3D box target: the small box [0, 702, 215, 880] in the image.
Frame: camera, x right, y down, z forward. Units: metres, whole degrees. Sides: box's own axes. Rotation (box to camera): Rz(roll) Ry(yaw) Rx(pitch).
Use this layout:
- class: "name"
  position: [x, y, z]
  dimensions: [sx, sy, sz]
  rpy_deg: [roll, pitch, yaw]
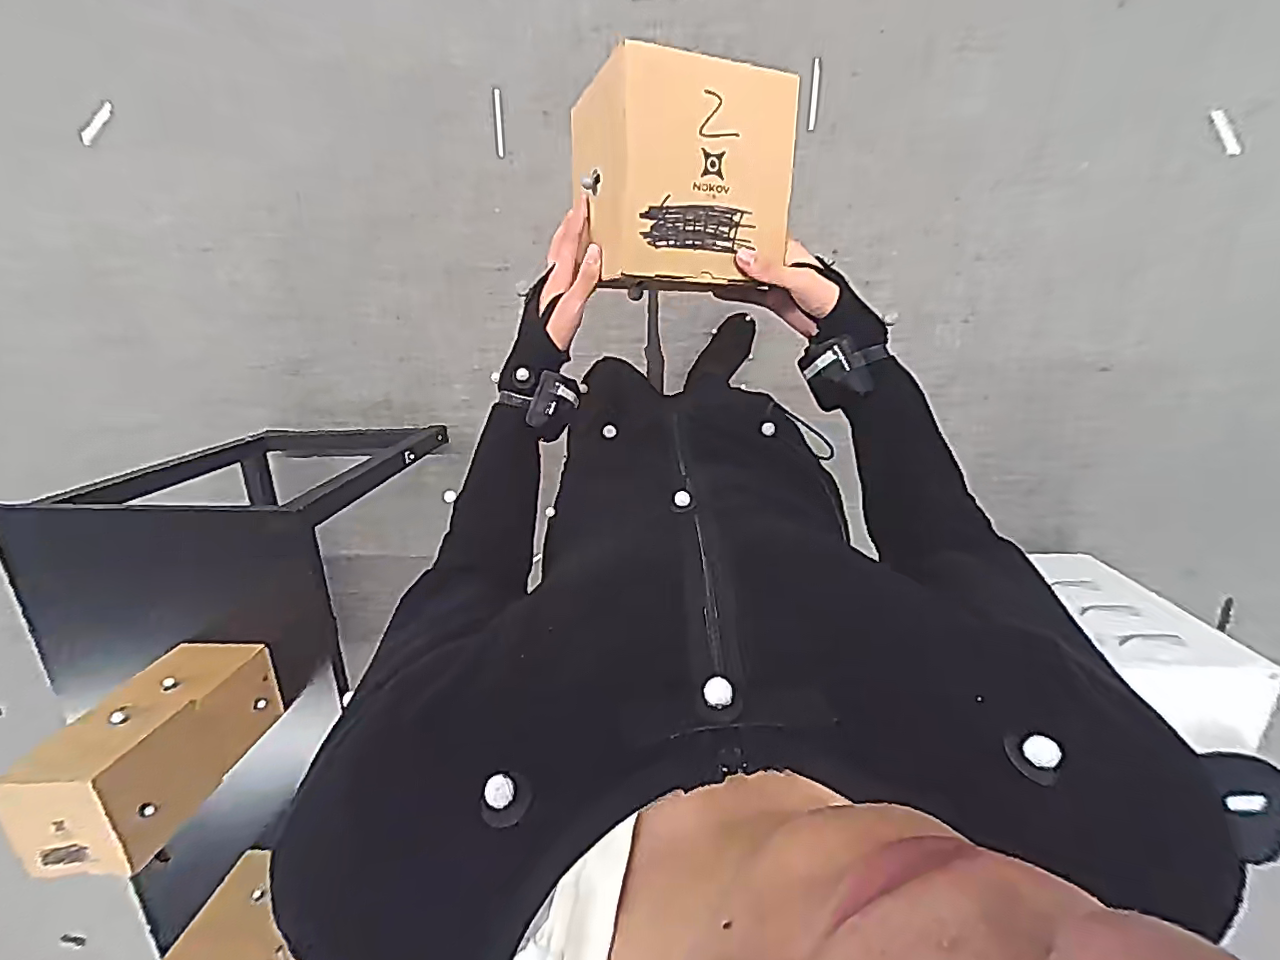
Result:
- class: "small box"
  position: [-0.811, 0.471, 0.833]
  dimensions: [0.168, 0.176, 0.179]
  rpy_deg: [-4, 107, 3]

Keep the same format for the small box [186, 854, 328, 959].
- class: "small box"
  position: [-0.796, 0.934, 1.151]
  dimensions: [0.179, 0.176, 0.168]
  rpy_deg: [-2, 107, 3]

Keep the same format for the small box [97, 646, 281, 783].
- class: "small box"
  position: [-0.809, 0.422, 0.990]
  dimensions: [0.179, 0.176, 0.168]
  rpy_deg: [0, 108, 3]

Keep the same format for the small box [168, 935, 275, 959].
- class: "small box"
  position: [-0.806, 0.983, 0.994]
  dimensions: [0.179, 0.176, 0.168]
  rpy_deg: [-1, 108, 3]
